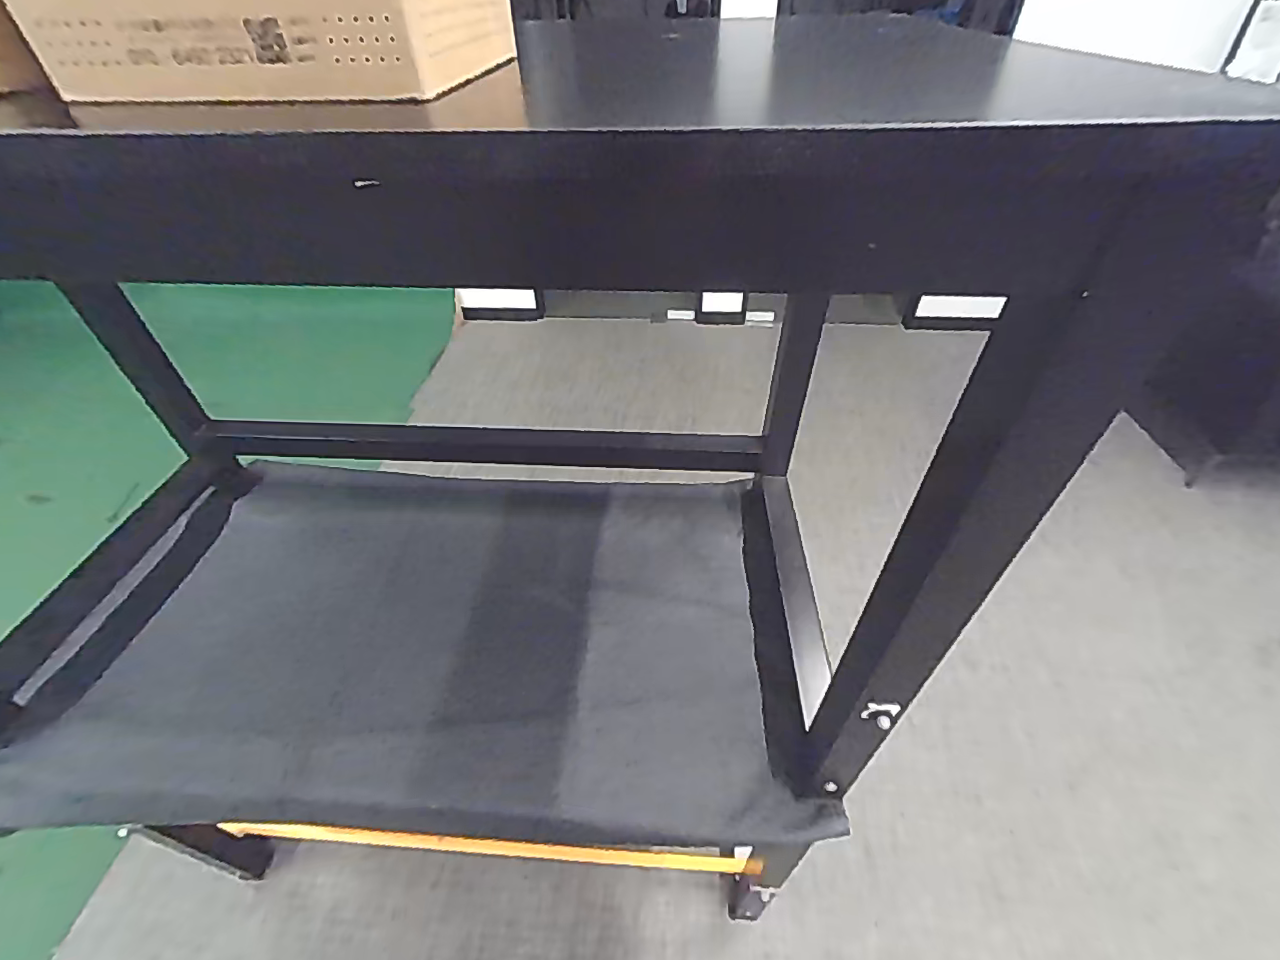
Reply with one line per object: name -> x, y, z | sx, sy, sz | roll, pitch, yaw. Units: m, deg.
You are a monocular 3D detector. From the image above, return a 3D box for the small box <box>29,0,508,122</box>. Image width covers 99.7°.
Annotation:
small box -> -0.168, -0.276, 0.247 | 0.168, 0.176, 0.179 | 2, 43, 2
